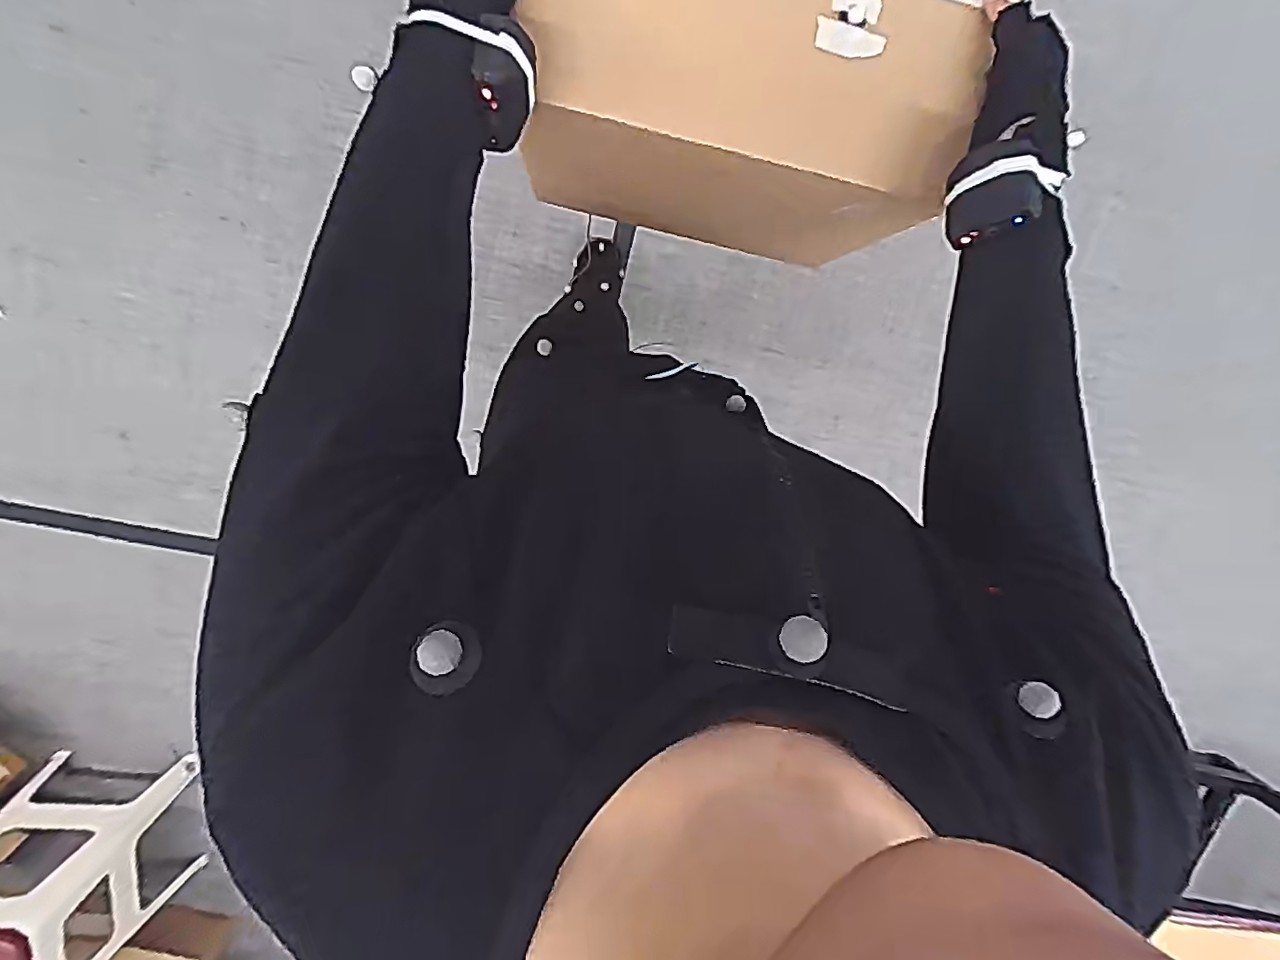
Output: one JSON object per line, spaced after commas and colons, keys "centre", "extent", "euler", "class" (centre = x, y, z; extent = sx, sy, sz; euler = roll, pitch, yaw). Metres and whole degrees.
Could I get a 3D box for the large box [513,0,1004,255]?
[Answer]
{"centre": [0.100, -0.468, 0.579], "extent": [0.408, 0.320, 0.320], "euler": [10, 102, -8], "class": "large box"}
